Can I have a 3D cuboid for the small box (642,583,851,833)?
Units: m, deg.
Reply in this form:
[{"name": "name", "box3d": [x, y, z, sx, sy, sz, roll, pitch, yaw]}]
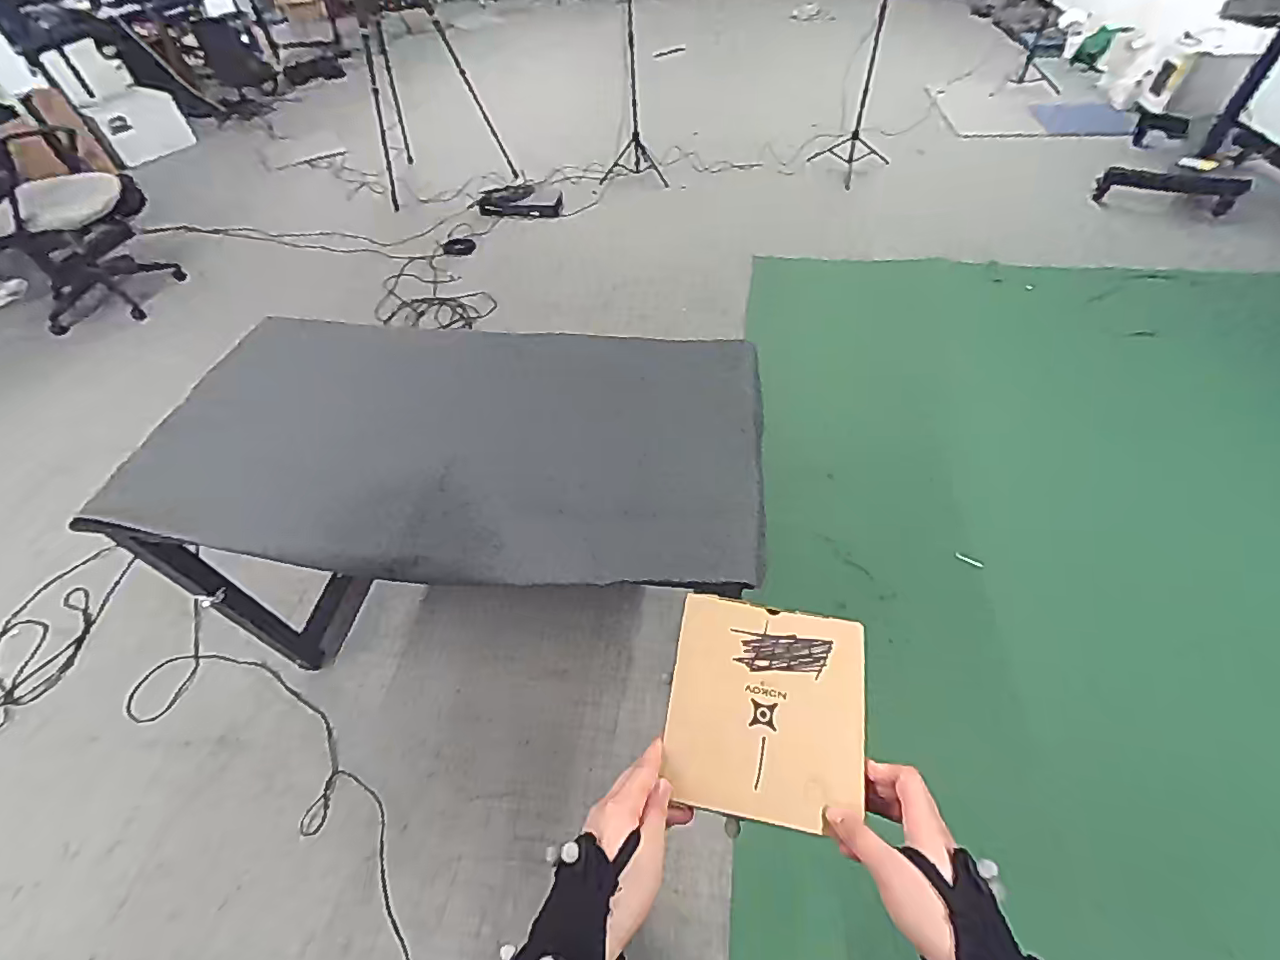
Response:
[{"name": "small box", "box3d": [0.100, 0.224, 0.531, 0.168, 0.176, 0.179, 8, 60, 9]}]
